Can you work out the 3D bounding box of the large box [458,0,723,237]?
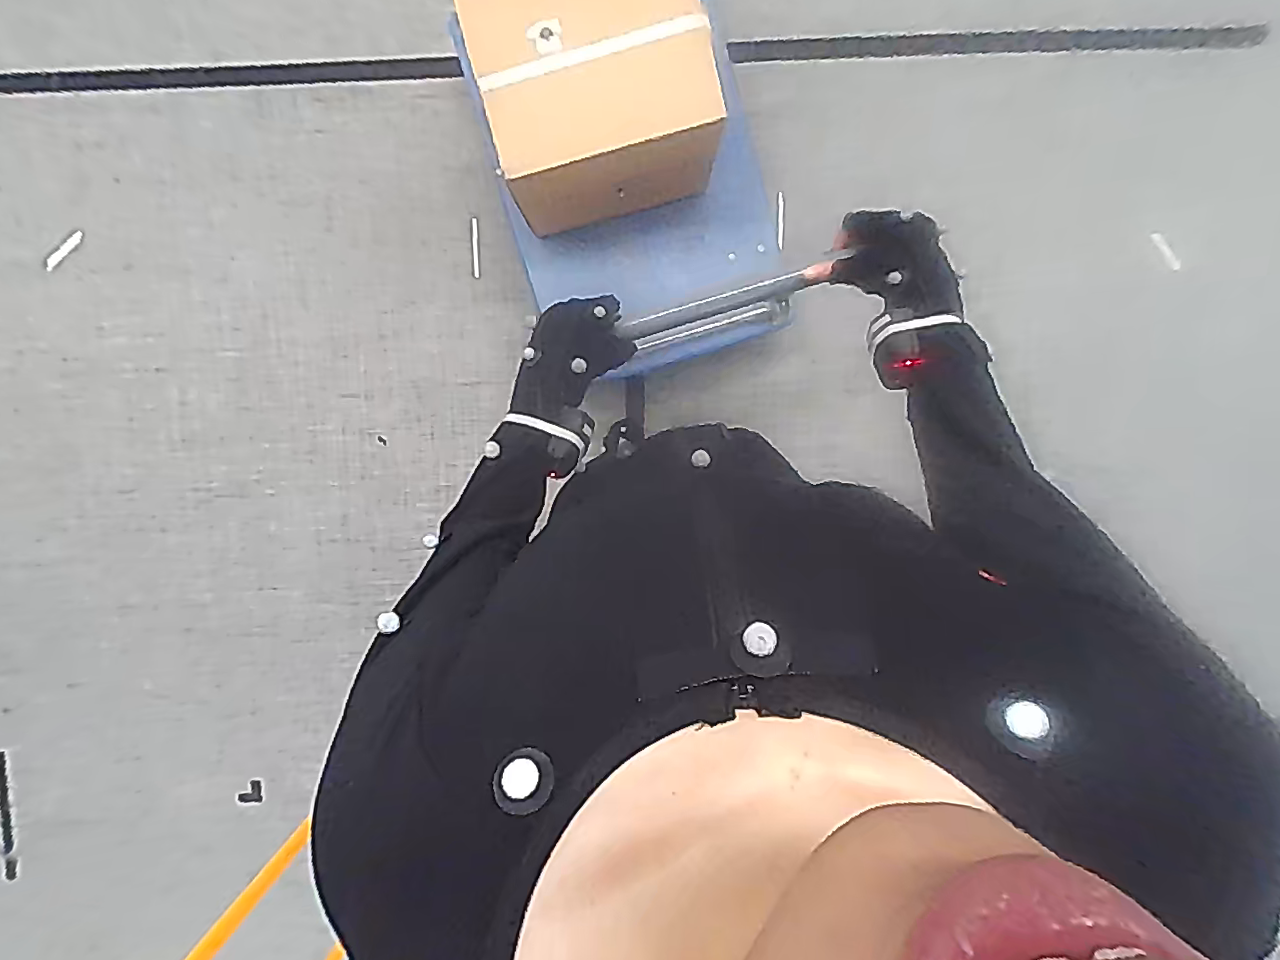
[{"bbox_3d":[-0.081,-0.737,1.081,0.408,0.320,0.320,-15,96,3],"label":"large box"}]
